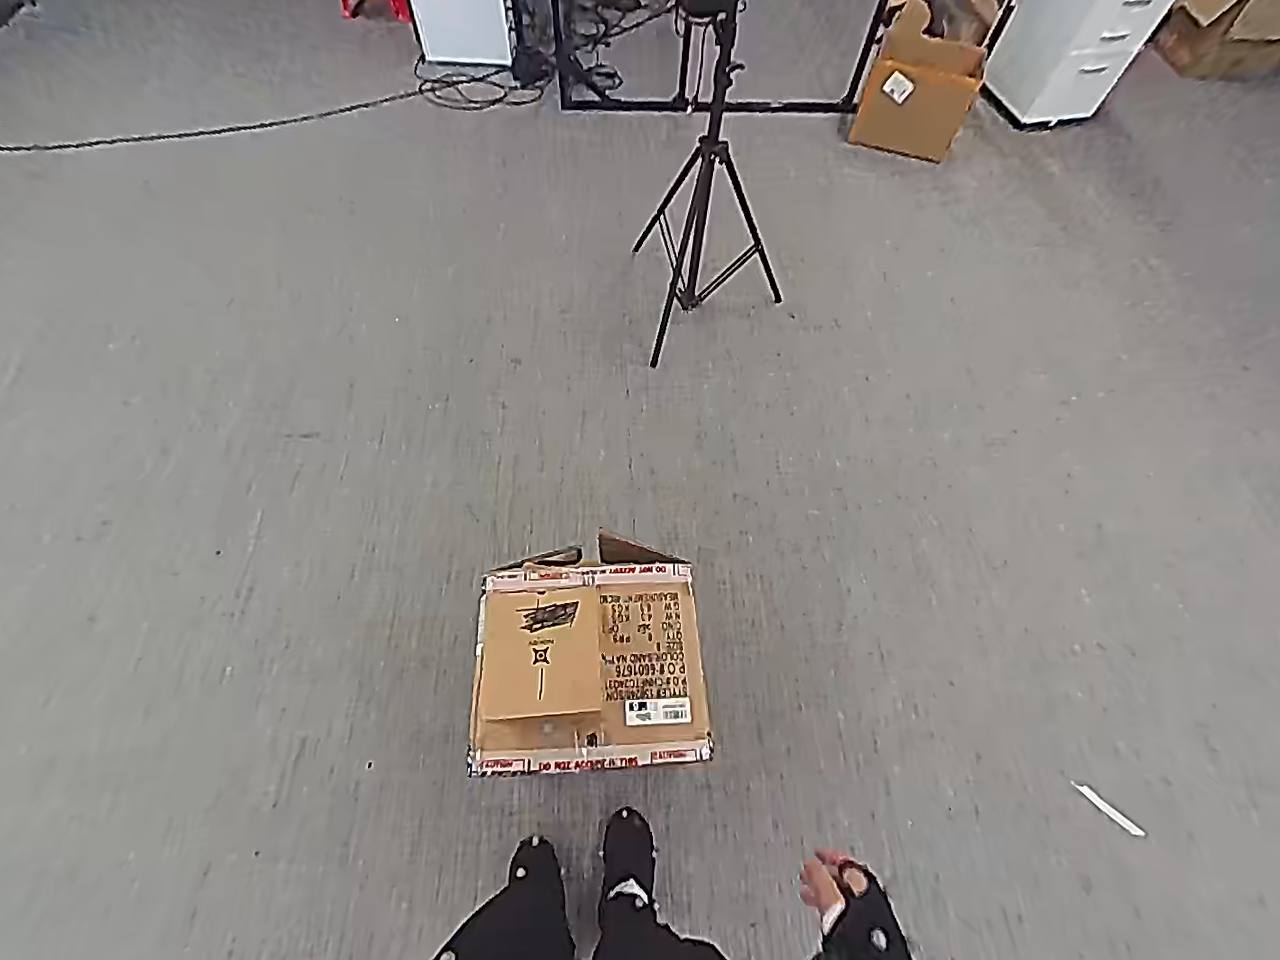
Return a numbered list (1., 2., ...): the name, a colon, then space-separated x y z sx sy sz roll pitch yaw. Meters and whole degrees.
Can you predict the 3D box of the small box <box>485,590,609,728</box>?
1. small box: -0.136 0.281 0.839 0.168 0.176 0.179 -4 65 -3
